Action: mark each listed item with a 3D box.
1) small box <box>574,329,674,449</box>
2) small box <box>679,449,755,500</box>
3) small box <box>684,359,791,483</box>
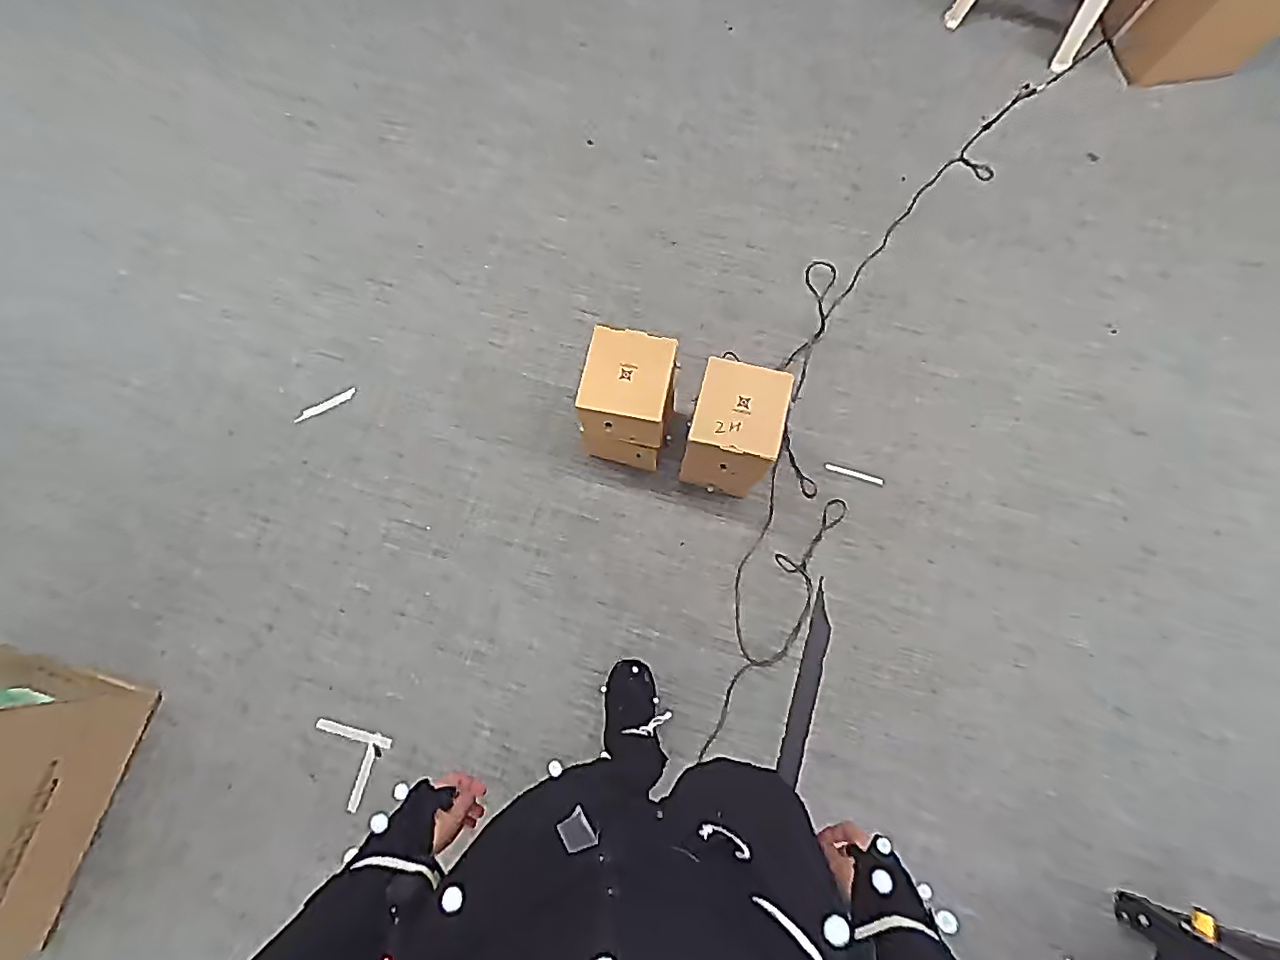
[{"bbox_3d":[-0.026,-0.177,1.103,0.168,0.176,0.179,11,75,4],"label":"small box"},{"bbox_3d":[0.189,-0.071,1.238,0.168,0.176,0.179,16,77,6],"label":"small box"},{"bbox_3d":[0.186,-0.111,1.078,0.168,0.176,0.179,14,77,5],"label":"small box"}]
